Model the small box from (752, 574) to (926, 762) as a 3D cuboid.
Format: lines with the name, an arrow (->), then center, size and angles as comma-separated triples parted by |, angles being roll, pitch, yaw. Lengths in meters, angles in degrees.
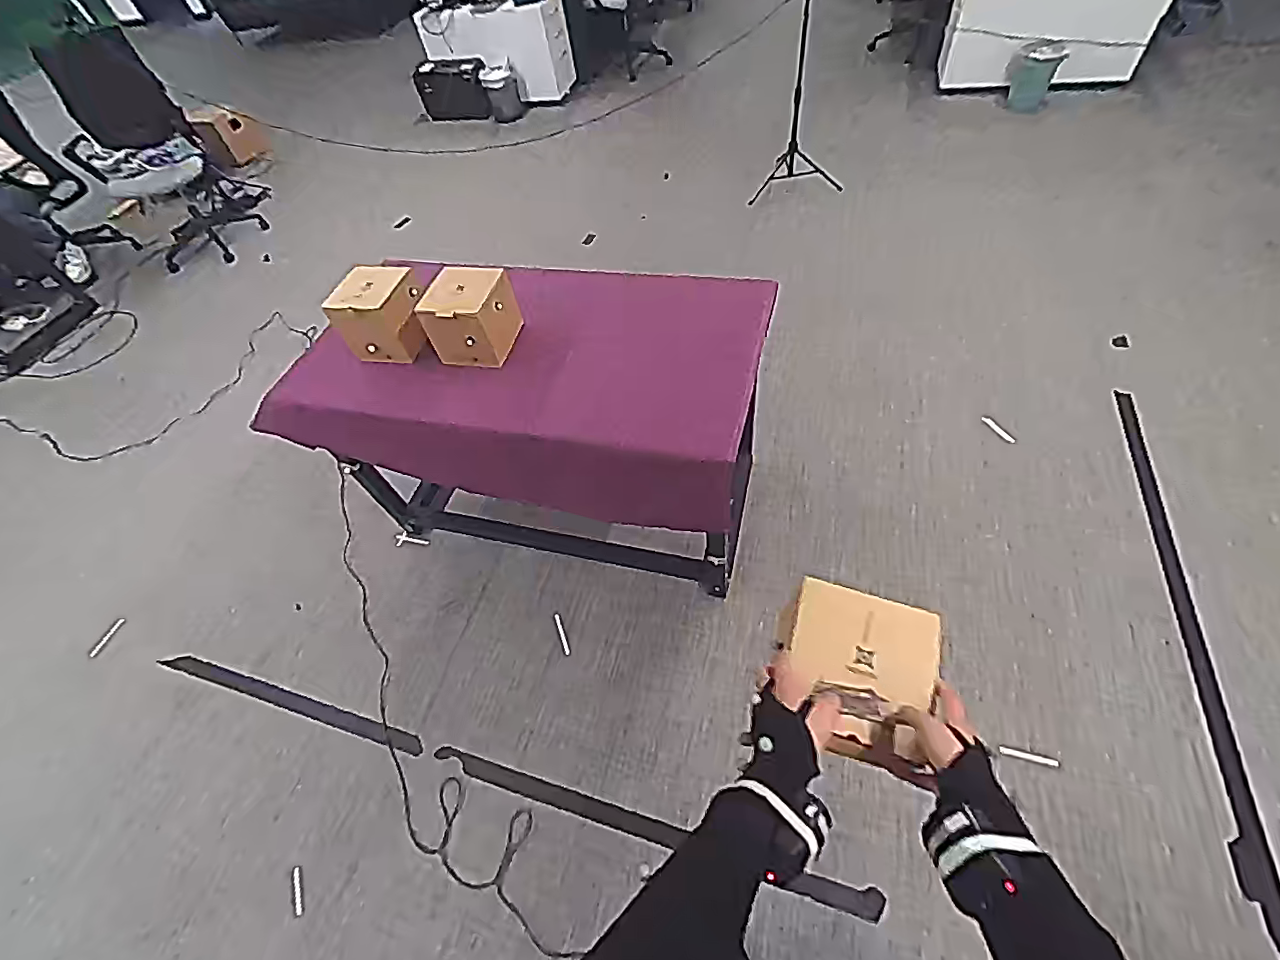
small box -> 0.248, 0.248, 0.702 | 0.168, 0.176, 0.179 | 14, 63, 11

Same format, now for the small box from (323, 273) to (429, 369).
small box -> -0.662, -0.411, 1.399 | 0.168, 0.176, 0.179 | 5, 56, 13

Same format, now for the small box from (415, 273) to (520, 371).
small box -> -0.418, -0.390, 1.347 | 0.168, 0.176, 0.179 | 7, 55, 13
